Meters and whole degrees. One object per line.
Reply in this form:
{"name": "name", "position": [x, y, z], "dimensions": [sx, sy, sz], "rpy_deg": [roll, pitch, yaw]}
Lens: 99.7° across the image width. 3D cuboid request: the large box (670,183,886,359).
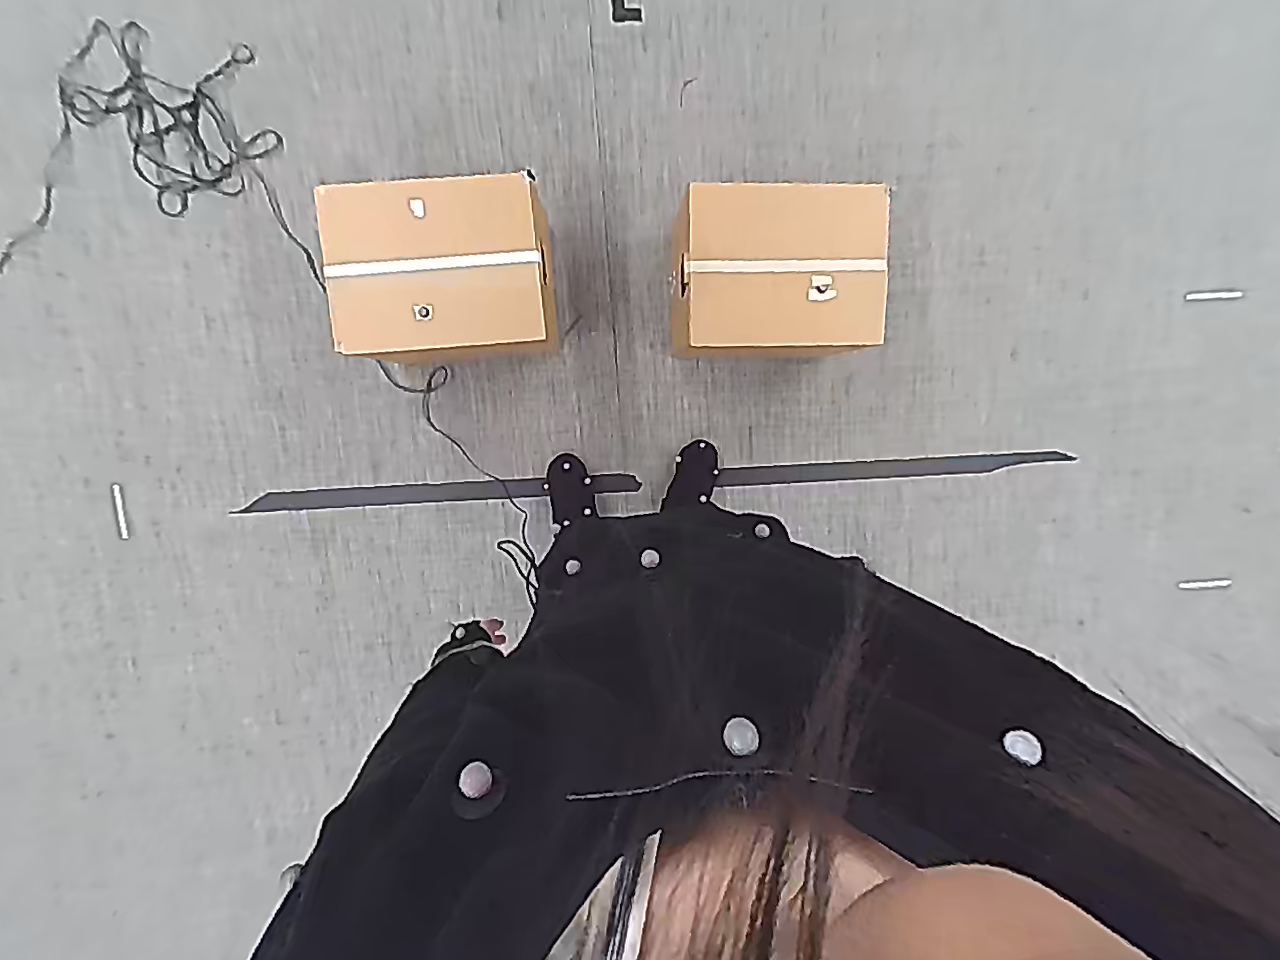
{"name": "large box", "position": [0.287, -0.452, 1.234], "dimensions": [0.408, 0.320, 0.320], "rpy_deg": [-1, 98, -4]}
